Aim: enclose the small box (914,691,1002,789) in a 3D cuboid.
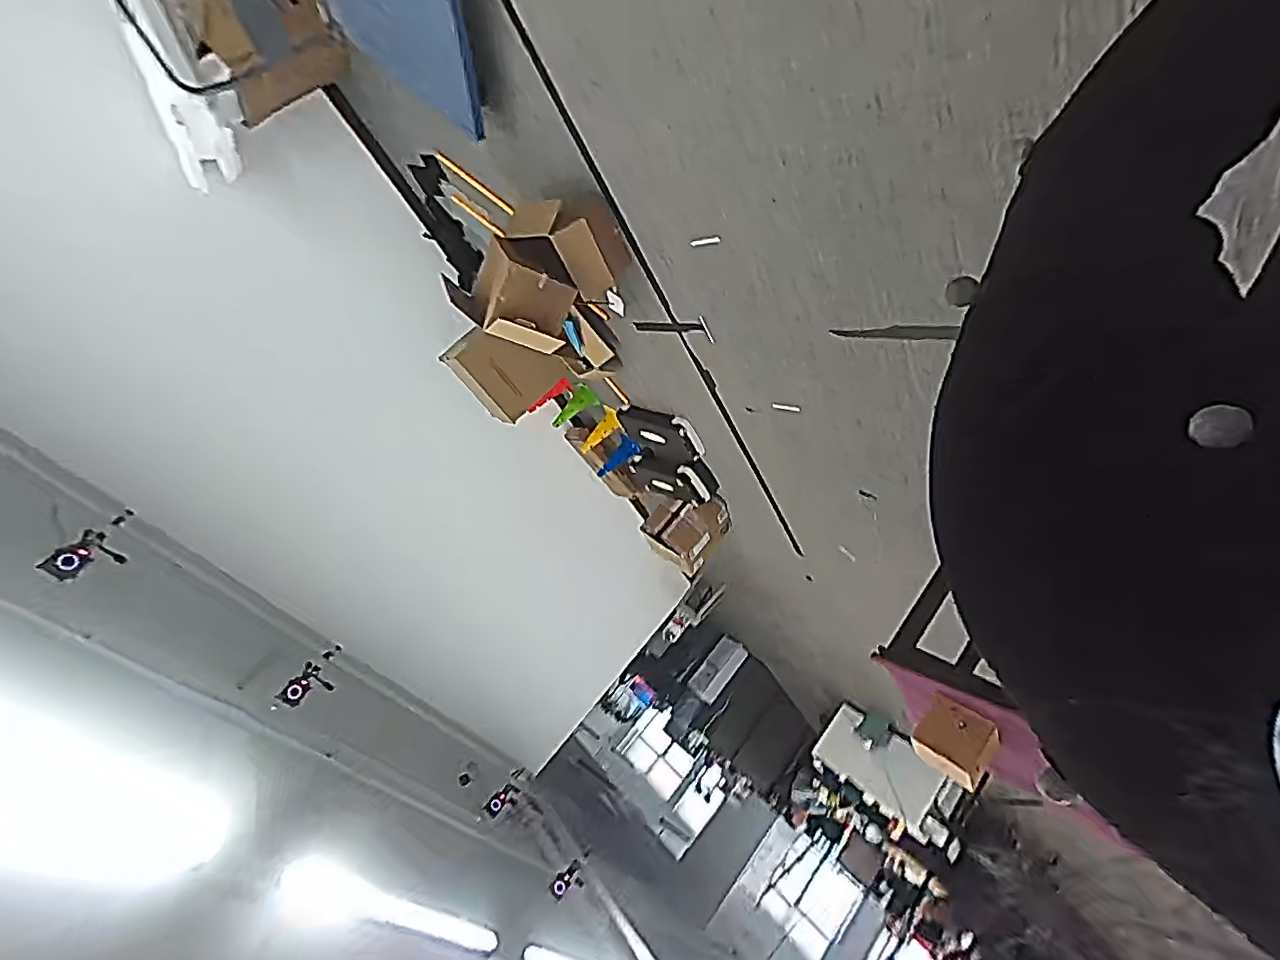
[{"bbox_3d":[0.938,0.759,1.588,0.168,0.176,0.179,23,156,48],"label":"small box"}]
